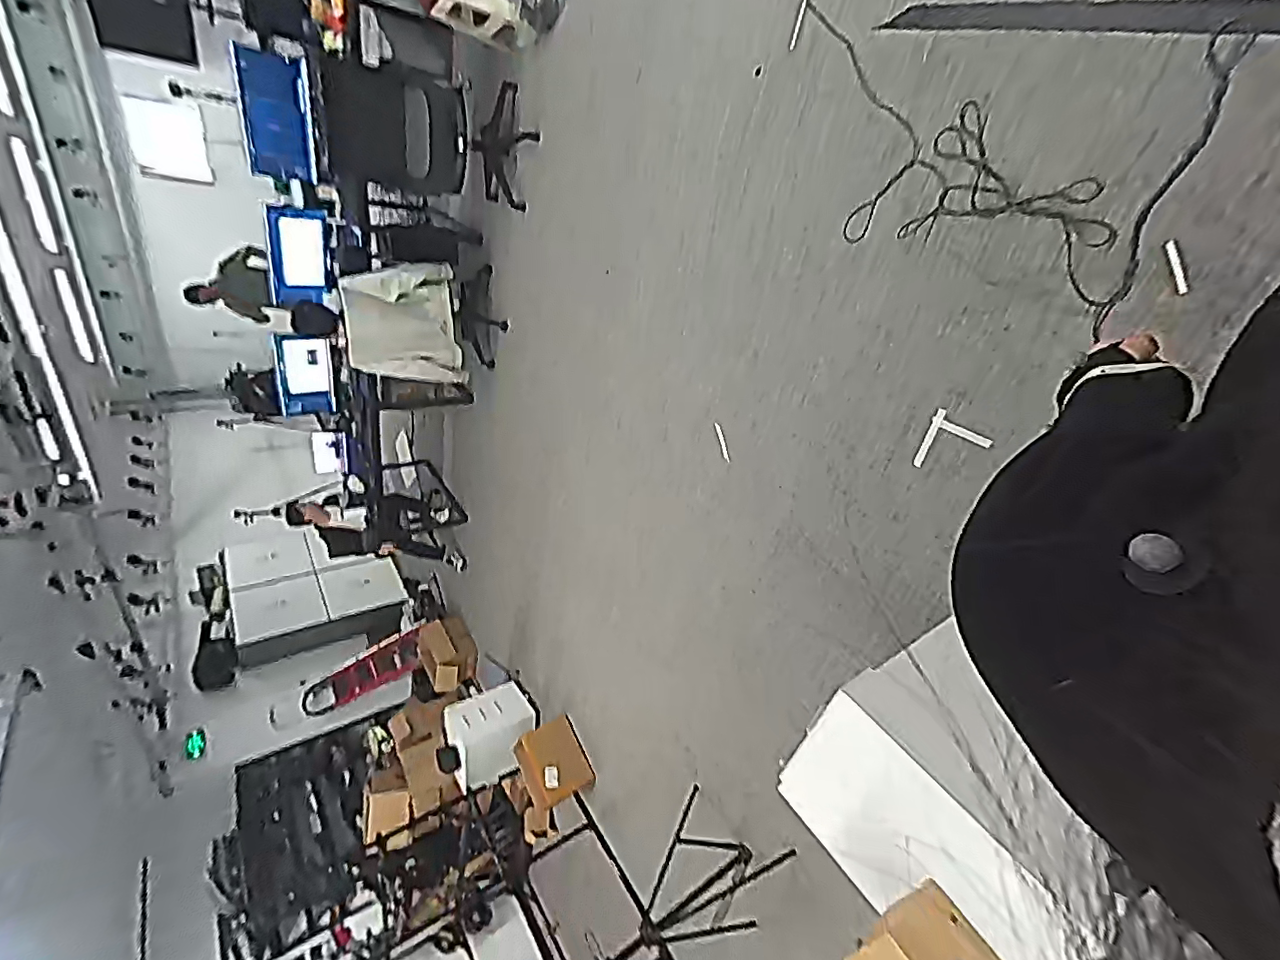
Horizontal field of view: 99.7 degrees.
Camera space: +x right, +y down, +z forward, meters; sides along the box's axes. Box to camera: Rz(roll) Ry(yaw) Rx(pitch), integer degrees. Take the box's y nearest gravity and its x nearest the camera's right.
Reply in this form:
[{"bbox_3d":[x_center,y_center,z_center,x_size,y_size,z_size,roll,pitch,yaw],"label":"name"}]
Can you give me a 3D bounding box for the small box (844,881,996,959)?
[{"bbox_3d":[0.521,0.888,0.991,0.168,0.176,0.179,47,135,36],"label":"small box"}]
